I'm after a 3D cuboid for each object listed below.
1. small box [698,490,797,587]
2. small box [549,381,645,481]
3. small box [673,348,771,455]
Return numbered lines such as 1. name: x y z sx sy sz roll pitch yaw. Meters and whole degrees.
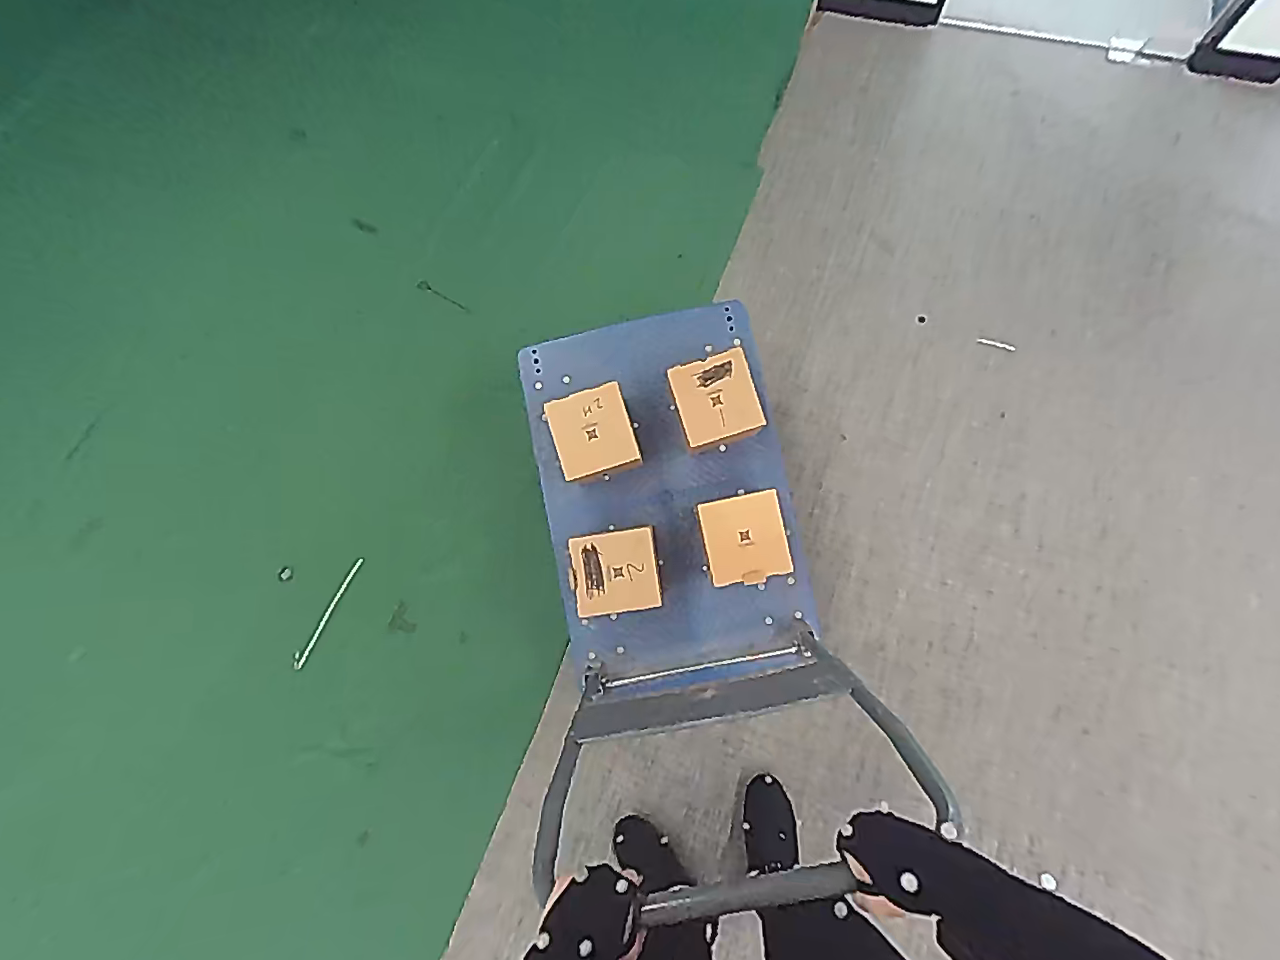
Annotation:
1. small box: 0.225 0.124 1.180 0.168 0.176 0.179 -11 86 2
2. small box: -0.088 -0.100 1.208 0.168 0.176 0.179 -17 86 1
3. small box: 0.173 -0.167 1.199 0.168 0.176 0.179 -17 86 2
